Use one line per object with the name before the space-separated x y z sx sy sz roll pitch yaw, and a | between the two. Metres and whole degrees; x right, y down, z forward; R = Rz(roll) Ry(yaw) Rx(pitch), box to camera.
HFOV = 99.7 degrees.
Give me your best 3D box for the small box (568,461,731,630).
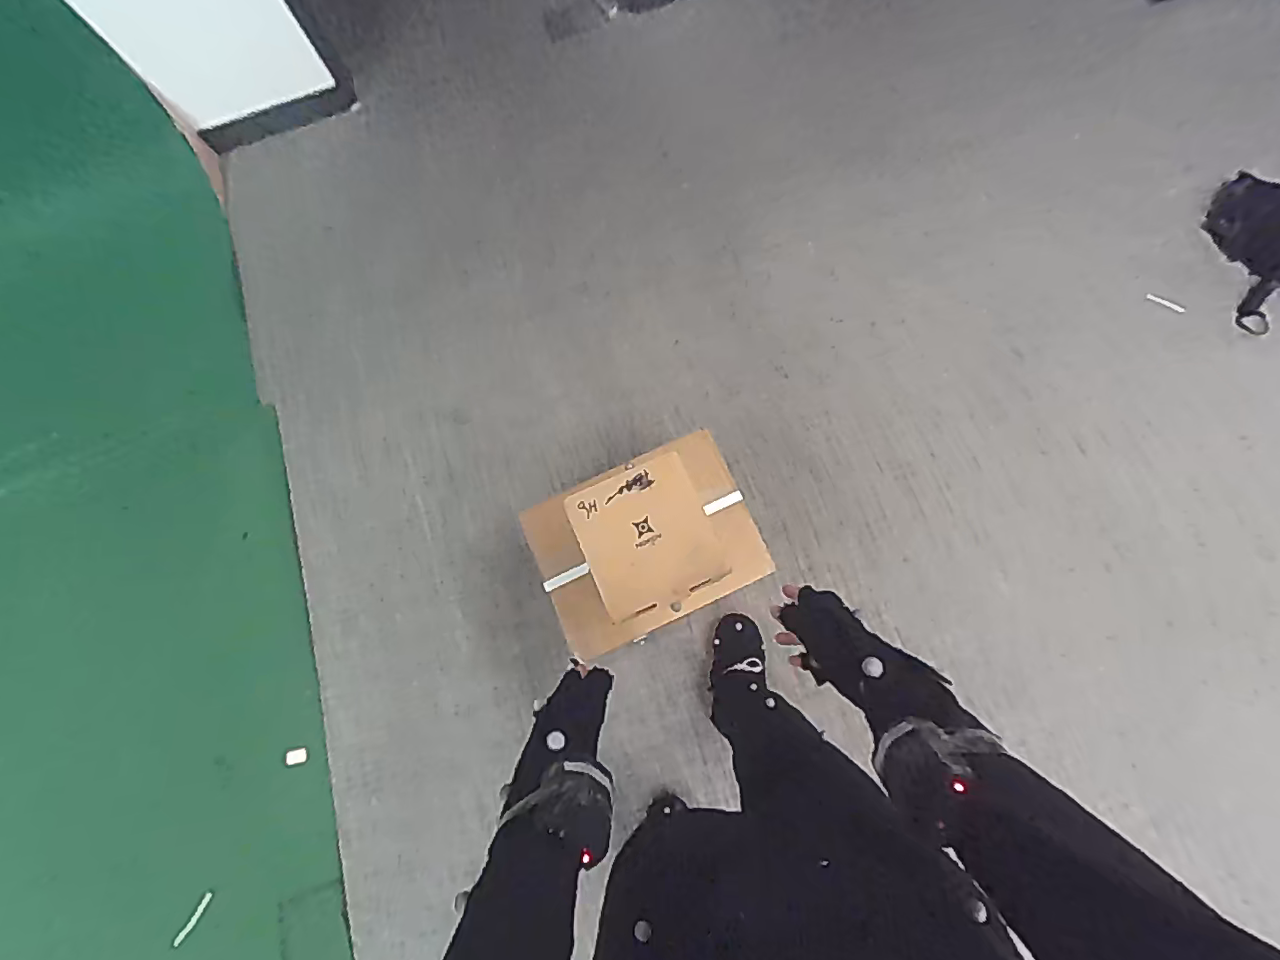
small box | 0.016 0.097 0.777 0.168 0.176 0.179 -24 76 -2
